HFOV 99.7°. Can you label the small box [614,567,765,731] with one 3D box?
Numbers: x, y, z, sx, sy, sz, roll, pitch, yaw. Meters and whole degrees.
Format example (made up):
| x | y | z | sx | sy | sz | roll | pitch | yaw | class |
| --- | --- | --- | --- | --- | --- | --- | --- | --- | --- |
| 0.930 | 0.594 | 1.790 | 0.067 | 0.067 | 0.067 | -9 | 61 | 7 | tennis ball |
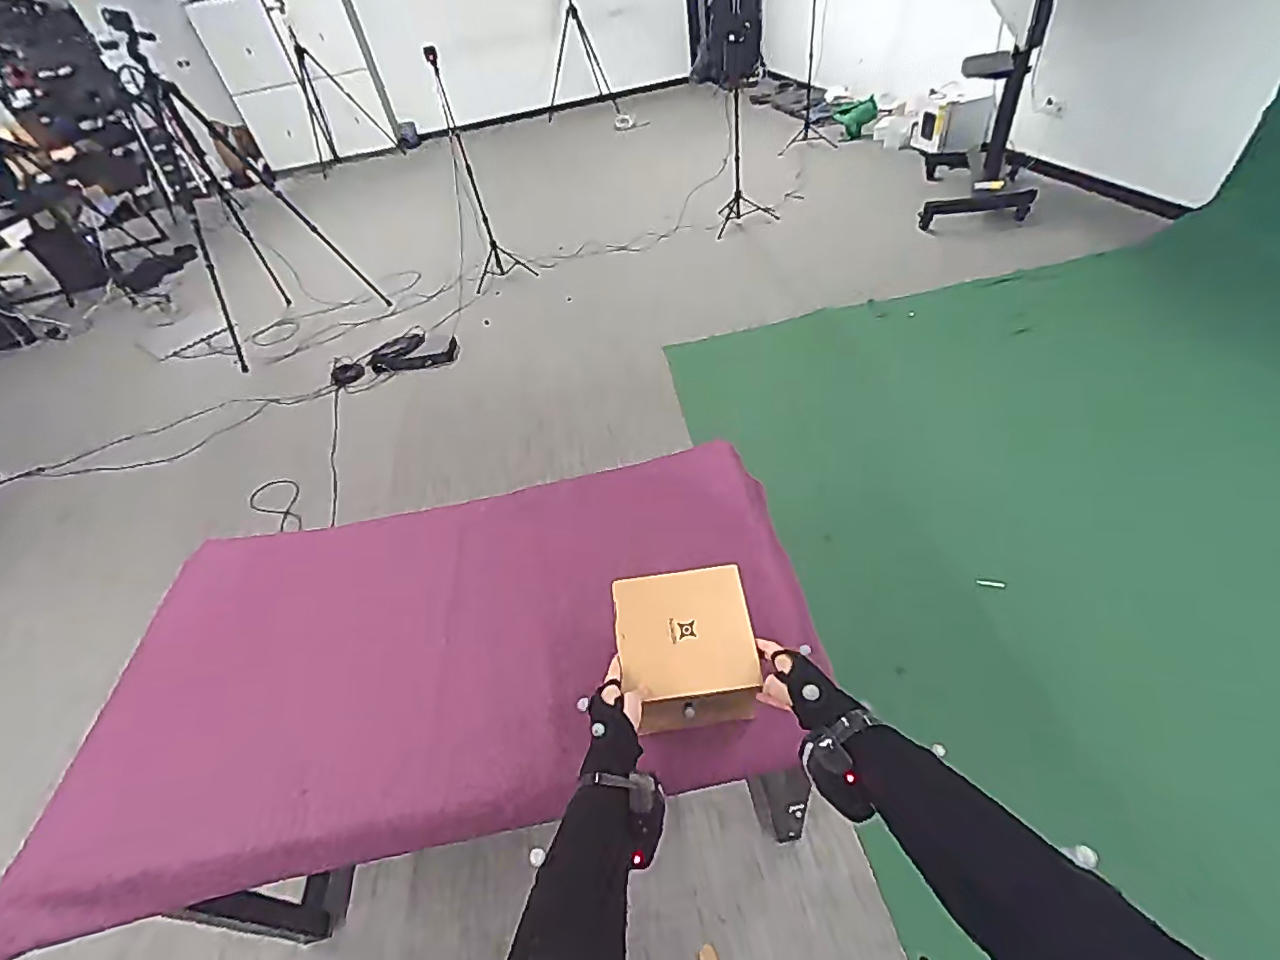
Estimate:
| x | y | z | sx | sy | sz | roll | pitch | yaw | class |
| --- | --- | --- | --- | --- | --- | --- | --- | --- | --- |
| 0.067 | 0.243 | 0.764 | 0.179 | 0.176 | 0.168 | -10 | 54 | 3 | small box |
